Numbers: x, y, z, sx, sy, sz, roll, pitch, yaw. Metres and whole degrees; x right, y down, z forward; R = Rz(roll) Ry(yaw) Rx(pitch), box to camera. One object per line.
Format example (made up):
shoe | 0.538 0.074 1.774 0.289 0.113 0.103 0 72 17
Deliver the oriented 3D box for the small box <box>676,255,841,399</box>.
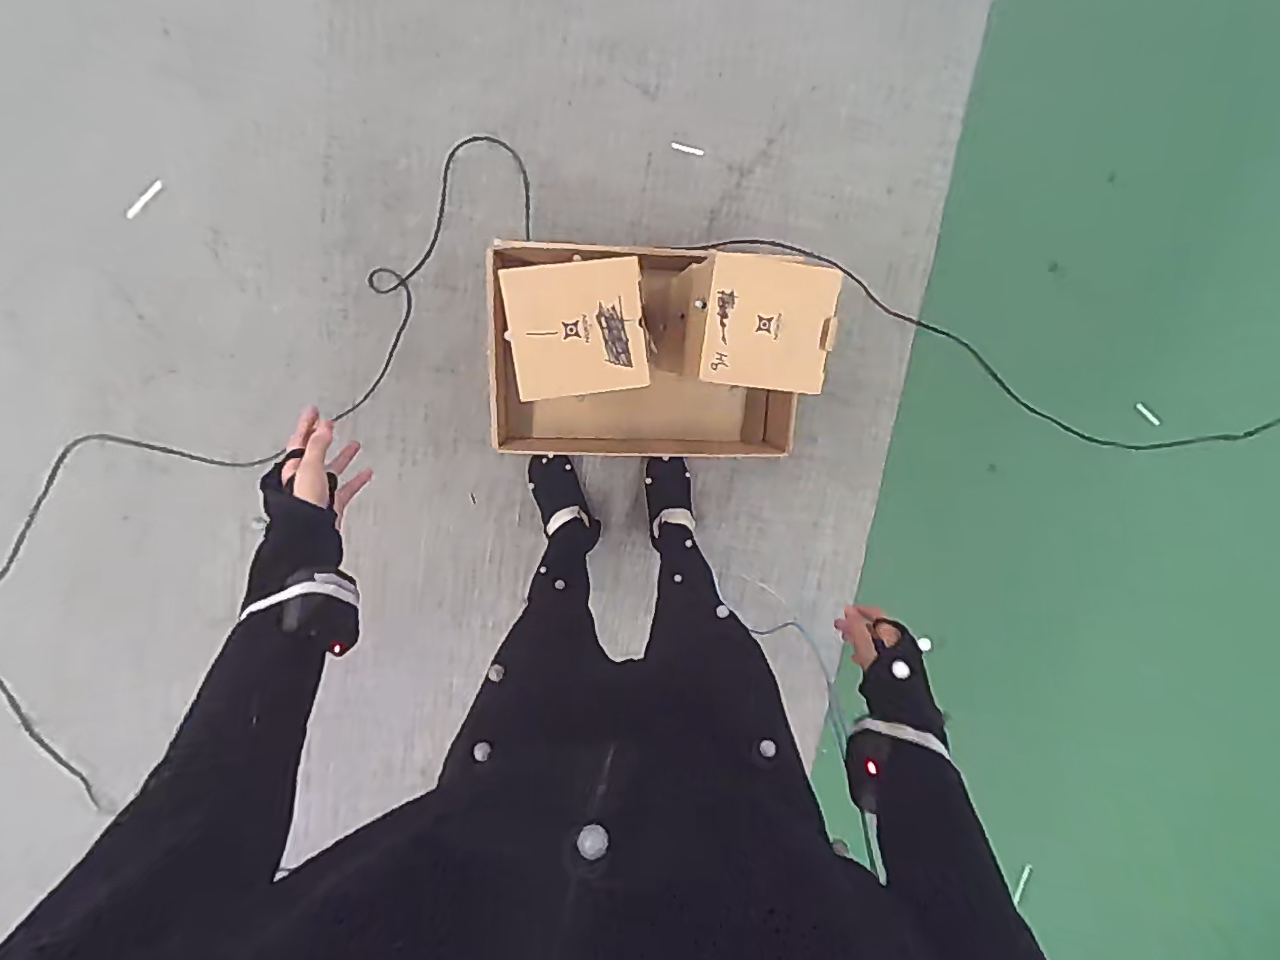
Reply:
small box | 0.161 -0.217 0.791 0.179 0.176 0.168 6 102 -7

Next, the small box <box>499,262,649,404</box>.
small box | -0.092 -0.207 0.769 0.179 0.176 0.168 -8 104 -5

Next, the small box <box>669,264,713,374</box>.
small box | 0.147 -0.268 0.949 0.168 0.176 0.179 3 103 -6
